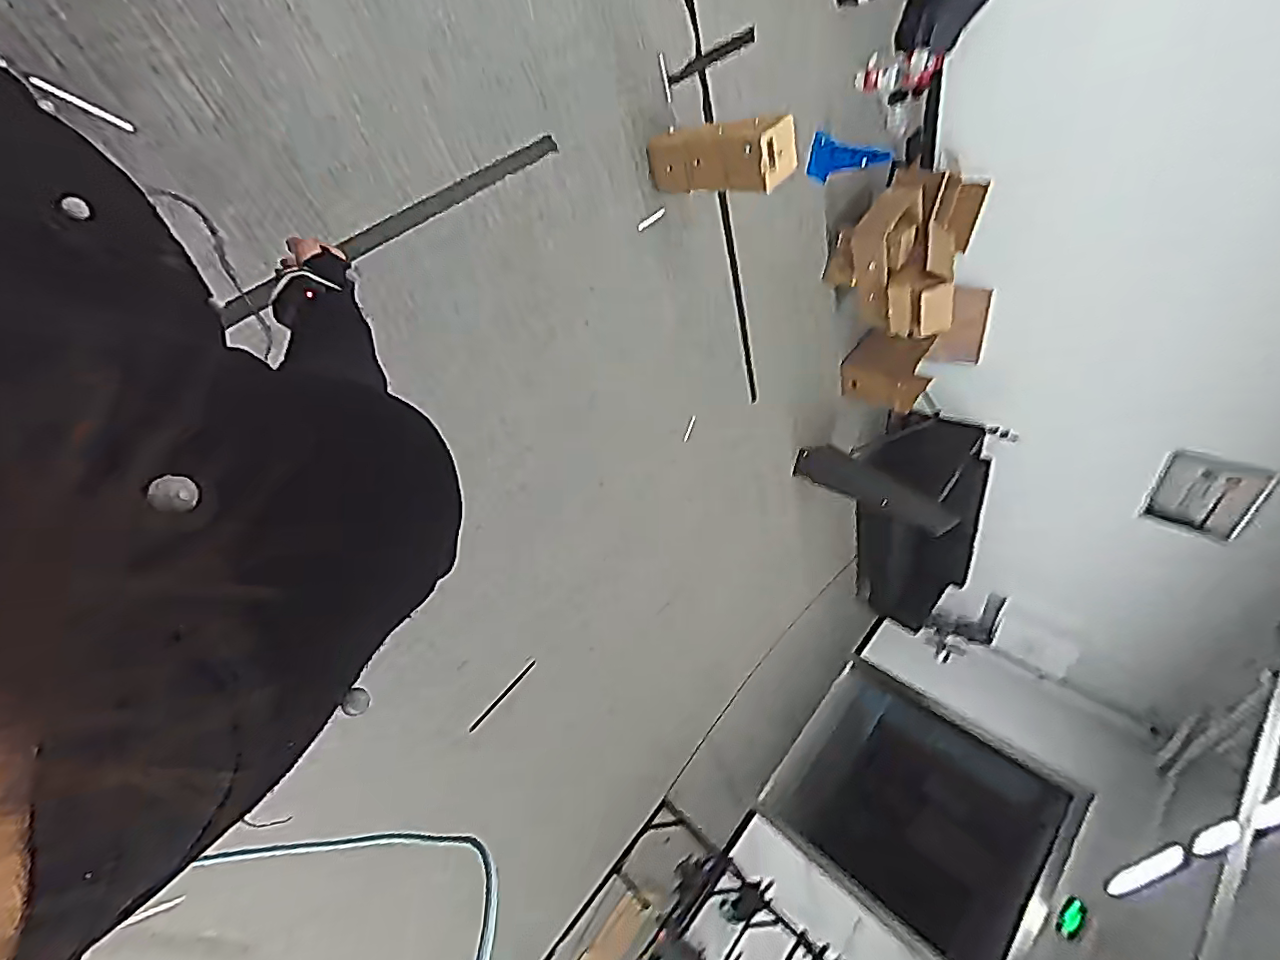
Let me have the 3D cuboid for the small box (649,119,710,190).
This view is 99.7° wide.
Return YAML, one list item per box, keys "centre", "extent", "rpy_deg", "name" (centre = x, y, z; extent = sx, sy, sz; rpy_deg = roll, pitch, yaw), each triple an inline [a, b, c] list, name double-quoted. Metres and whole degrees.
- centre: [0.158, -1.178, 1.957]
  extent: [0.168, 0.176, 0.179]
  rpy_deg: [-45, 138, -21]
  name: "small box"

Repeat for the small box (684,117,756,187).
- centre: [0.278, -1.130, 1.858]
  extent: [0.179, 0.176, 0.168]
  rpy_deg: [-41, 137, -24]
  name: "small box"
